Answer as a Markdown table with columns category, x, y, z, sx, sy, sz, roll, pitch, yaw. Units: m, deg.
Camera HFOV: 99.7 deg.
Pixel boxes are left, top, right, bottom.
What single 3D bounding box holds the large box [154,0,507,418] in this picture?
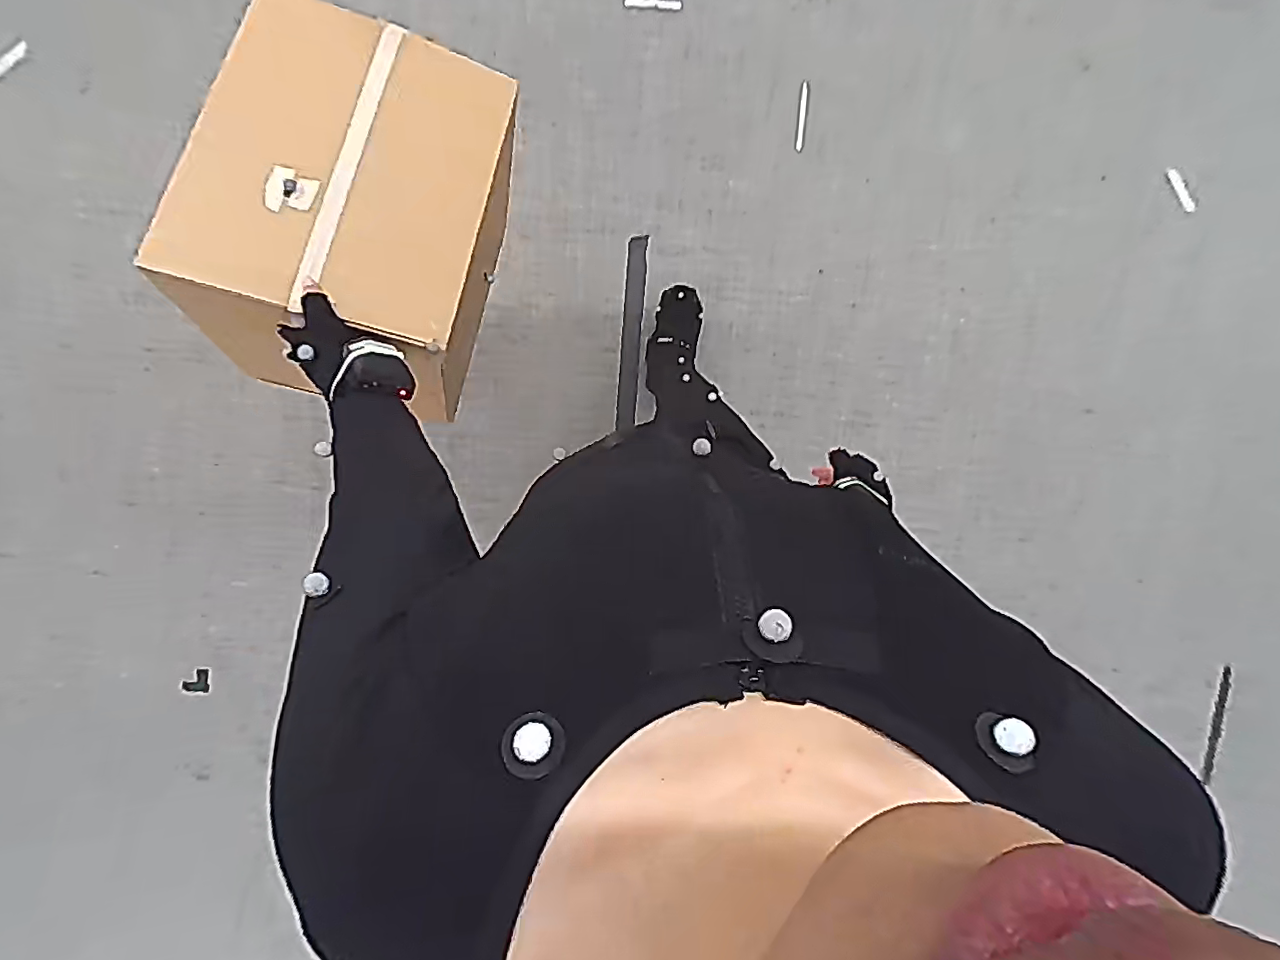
| category | x | y | z | sx | sy | sz | roll | pitch | yaw |
| --- | --- | --- | --- | --- | --- | --- | --- | --- | --- |
| large box | -0.396 | -0.352 | 0.799 | 0.320 | 0.320 | 0.408 | 12 | 76 | -14 |
